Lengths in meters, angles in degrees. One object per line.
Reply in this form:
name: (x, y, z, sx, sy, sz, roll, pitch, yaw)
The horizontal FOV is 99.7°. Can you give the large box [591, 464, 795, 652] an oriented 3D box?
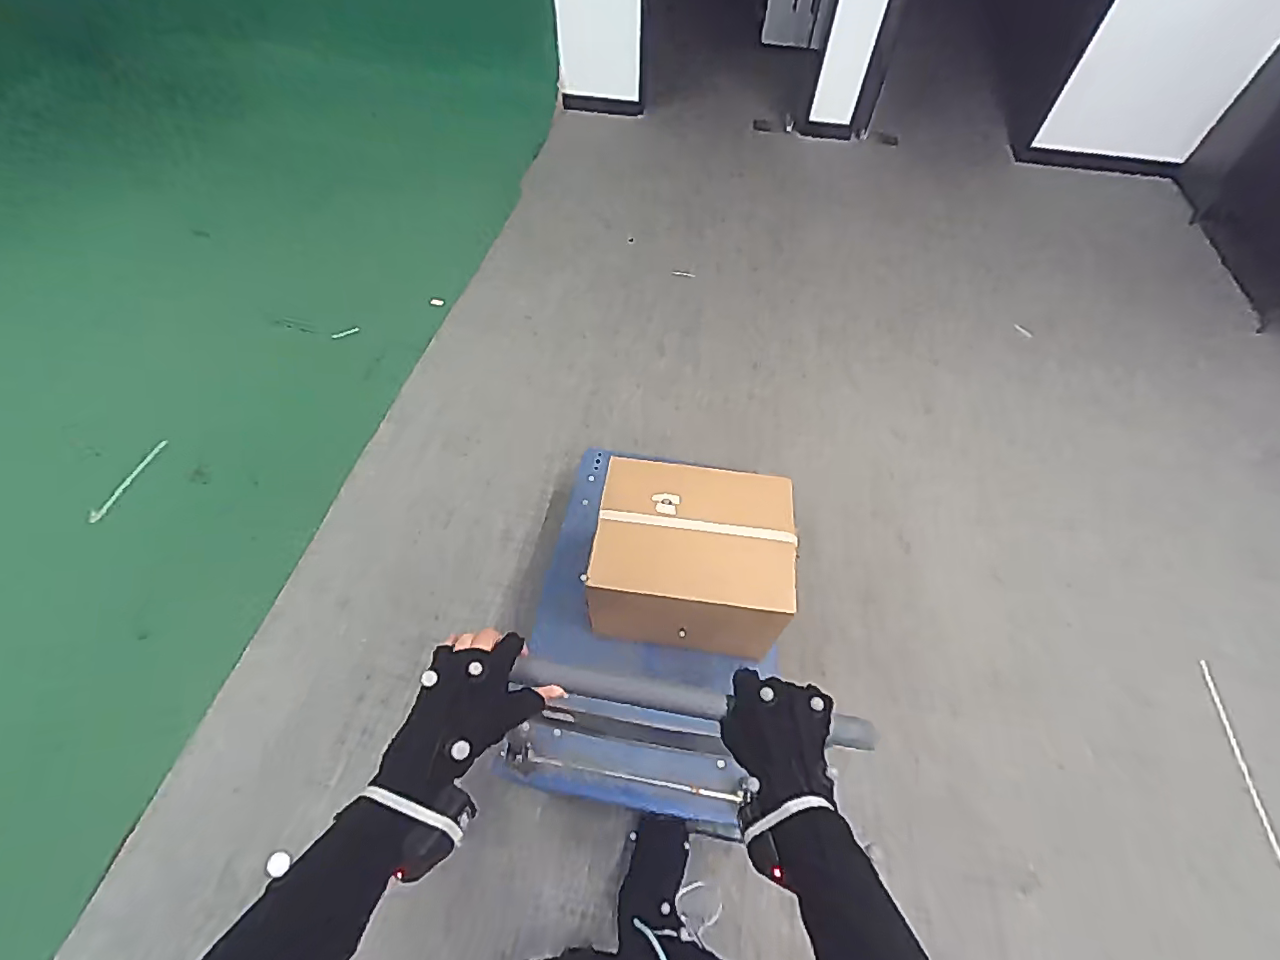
large box: (0.117, 0.188, 1.247, 0.408, 0.320, 0.320, 6, 56, 4)
